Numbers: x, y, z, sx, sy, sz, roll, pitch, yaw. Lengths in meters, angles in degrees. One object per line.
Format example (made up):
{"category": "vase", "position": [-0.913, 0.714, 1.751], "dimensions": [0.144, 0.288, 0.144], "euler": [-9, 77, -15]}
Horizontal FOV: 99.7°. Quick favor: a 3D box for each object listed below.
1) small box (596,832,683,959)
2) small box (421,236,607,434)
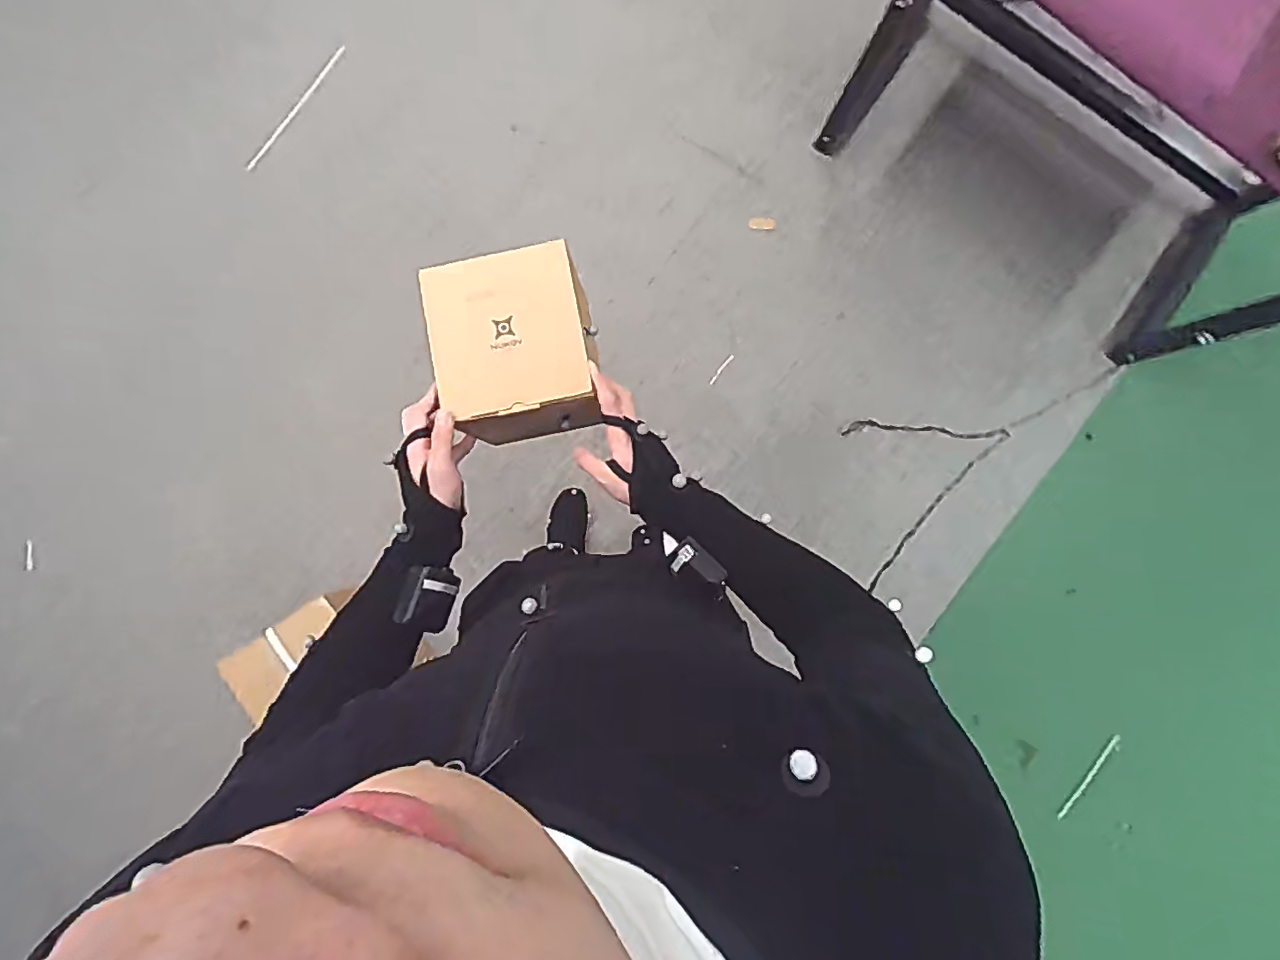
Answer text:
{"category": "small box", "position": [-0.002, 0.930, 1.222], "dimensions": [0.179, 0.176, 0.168], "euler": [4, 88, -2]}
{"category": "small box", "position": [-0.138, -0.157, 0.650], "dimensions": [0.168, 0.176, 0.179], "euler": [-10, 85, 1]}
